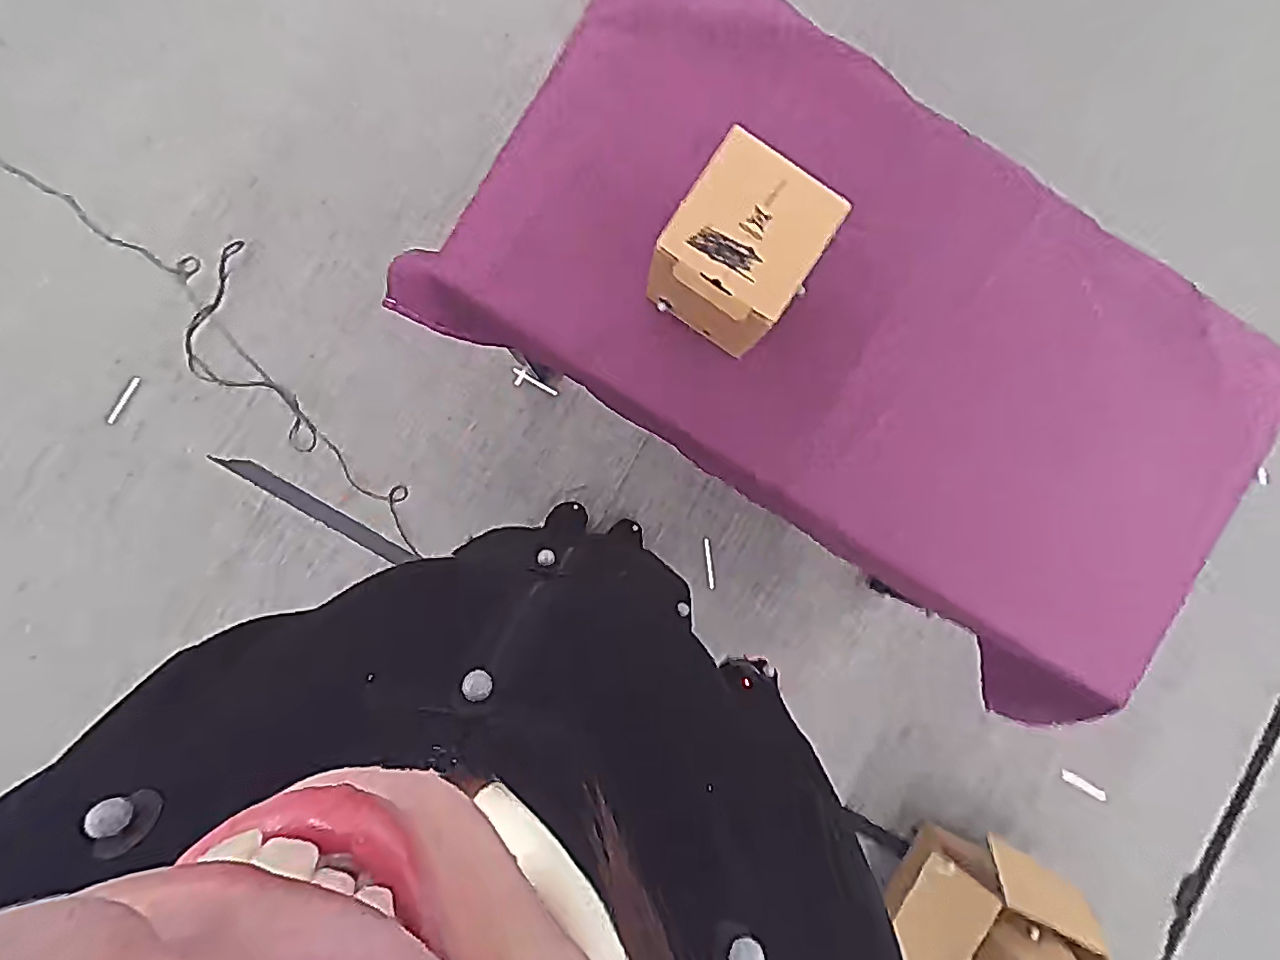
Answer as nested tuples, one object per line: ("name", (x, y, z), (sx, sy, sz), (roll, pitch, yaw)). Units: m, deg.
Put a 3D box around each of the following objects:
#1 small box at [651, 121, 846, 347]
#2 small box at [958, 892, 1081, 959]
("small box", (0.125, -0.300, 0.705), (0.168, 0.176, 0.179), (33, 87, -3))
("small box", (0.890, 1.131, 1.285), (0.168, 0.176, 0.179), (9, 92, 0))
